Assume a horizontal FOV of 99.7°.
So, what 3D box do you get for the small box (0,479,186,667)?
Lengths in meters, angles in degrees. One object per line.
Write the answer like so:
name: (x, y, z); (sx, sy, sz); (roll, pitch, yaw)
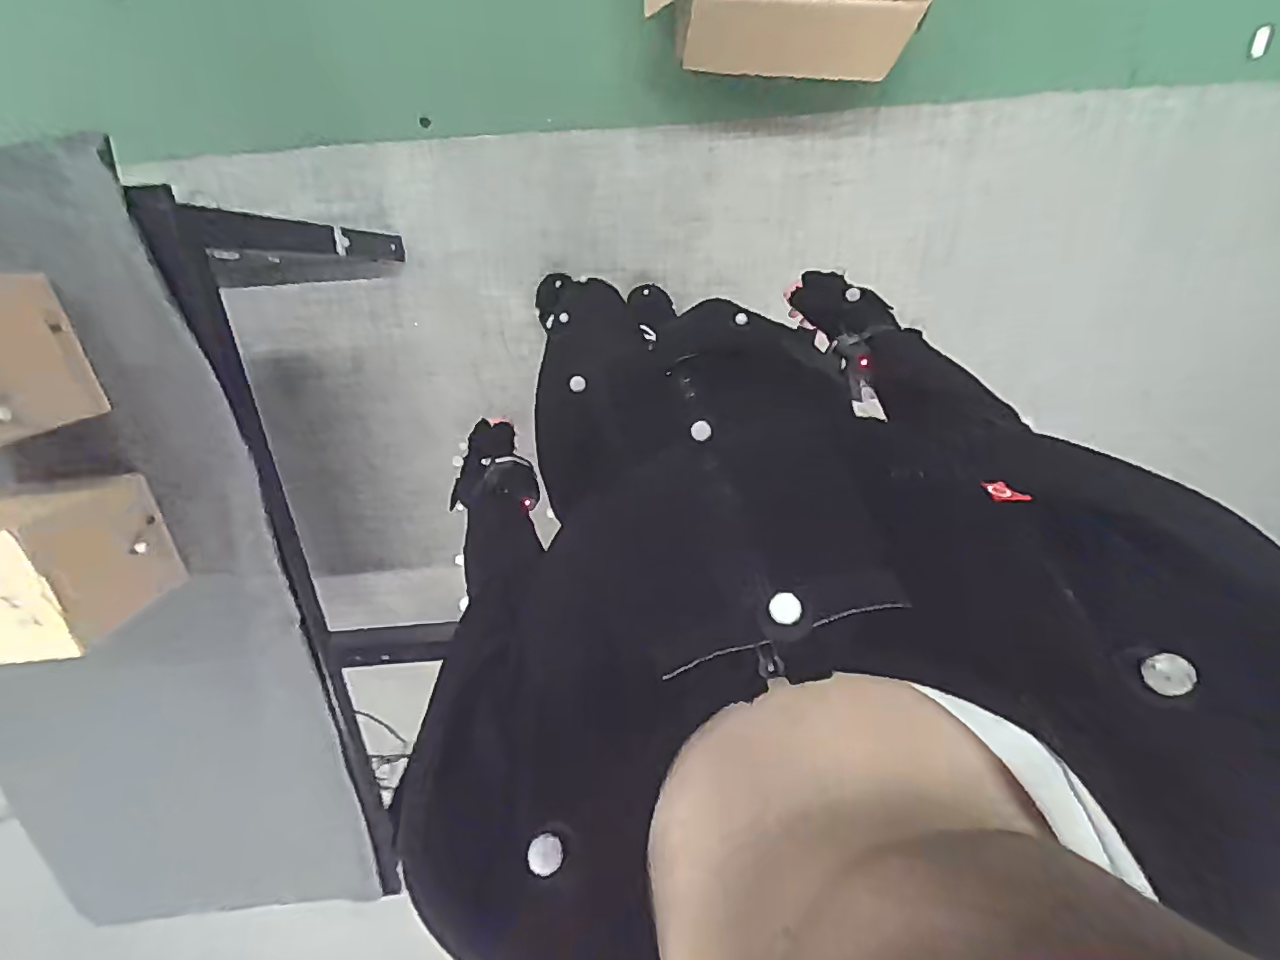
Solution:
small box: (-0.727, 0.106, 0.662); (0.179, 0.176, 0.168); (-5, 112, 0)
